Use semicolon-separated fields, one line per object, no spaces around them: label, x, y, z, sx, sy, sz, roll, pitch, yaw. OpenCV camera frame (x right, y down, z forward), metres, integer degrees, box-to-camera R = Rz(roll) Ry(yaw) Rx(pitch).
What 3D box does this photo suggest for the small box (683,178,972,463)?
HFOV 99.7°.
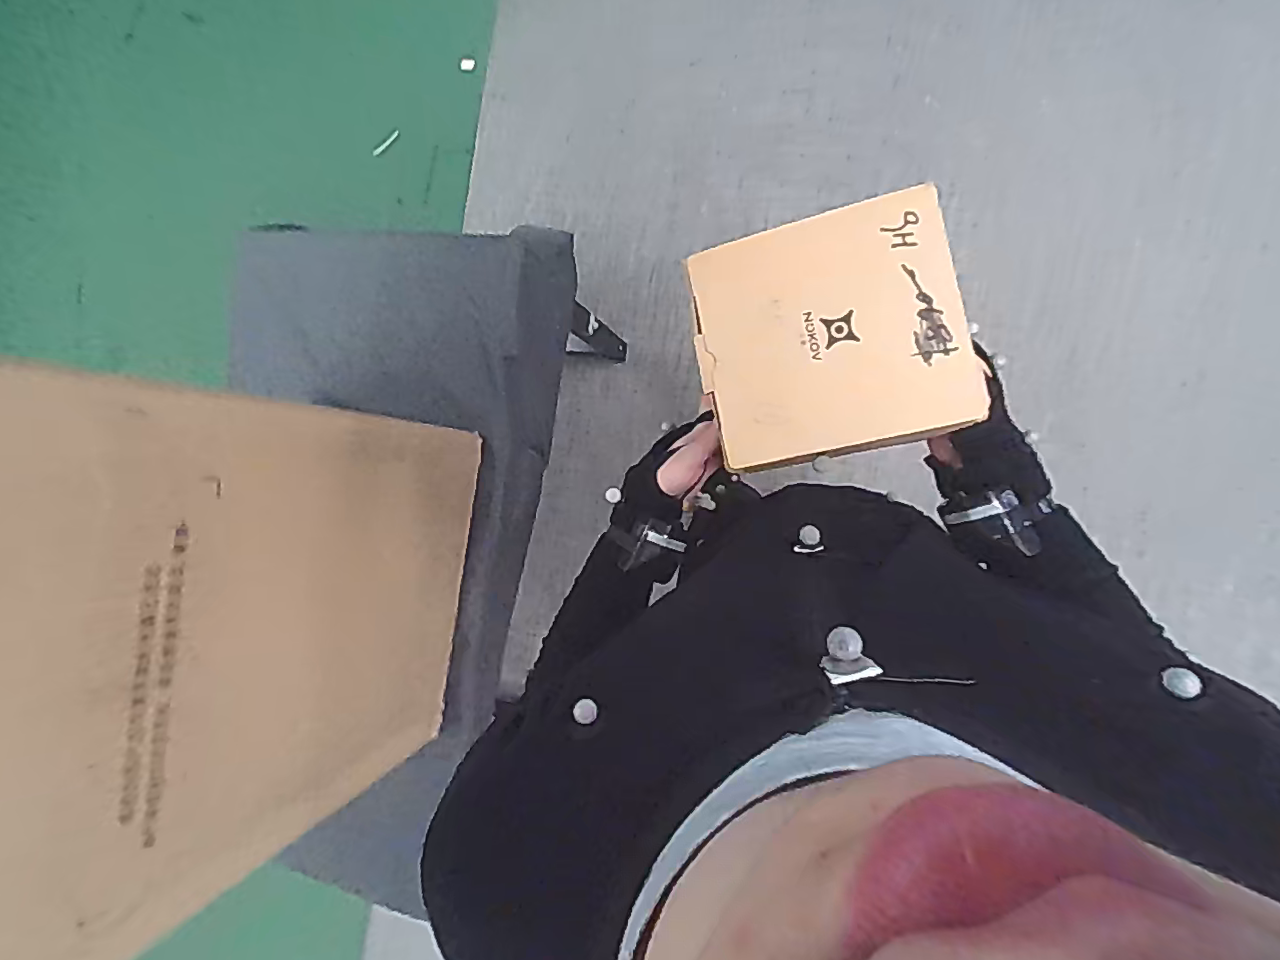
small box;0.146;-0.110;0.459;0.179;0.176;0.168;-10;87;14
